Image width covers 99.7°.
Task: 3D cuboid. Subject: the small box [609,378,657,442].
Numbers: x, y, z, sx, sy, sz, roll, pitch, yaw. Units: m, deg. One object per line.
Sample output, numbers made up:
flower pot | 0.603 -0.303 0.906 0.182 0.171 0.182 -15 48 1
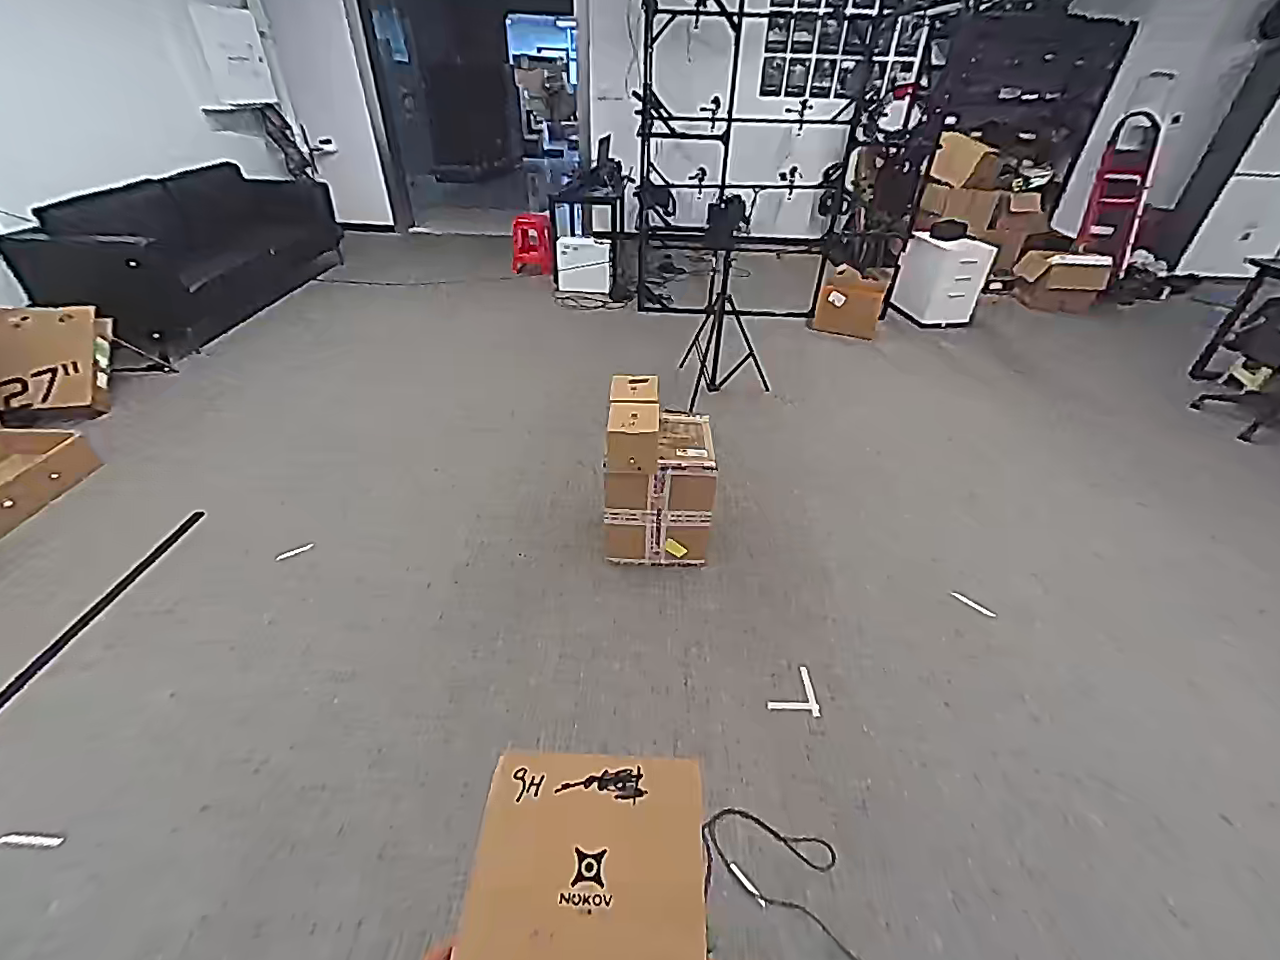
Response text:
small box | -0.022 -0.255 1.966 0.168 0.176 0.179 0 40 2
